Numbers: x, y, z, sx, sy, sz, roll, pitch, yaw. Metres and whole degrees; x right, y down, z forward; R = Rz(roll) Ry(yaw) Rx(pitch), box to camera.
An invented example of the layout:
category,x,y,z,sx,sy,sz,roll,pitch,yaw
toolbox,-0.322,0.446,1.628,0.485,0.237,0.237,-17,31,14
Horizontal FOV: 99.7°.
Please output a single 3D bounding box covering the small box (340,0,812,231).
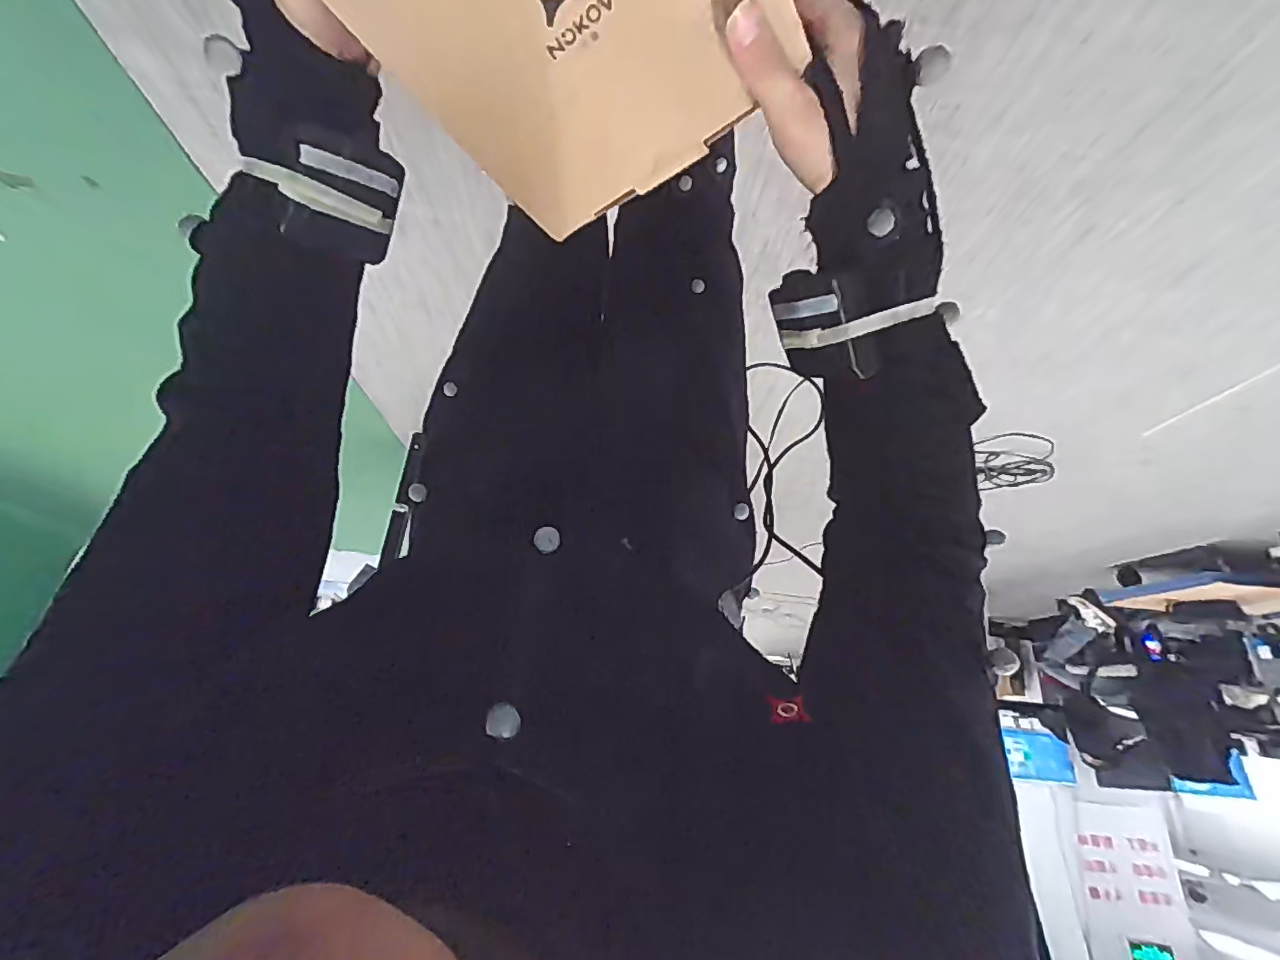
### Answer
category,x,y,z,sx,sy,sz,roll,pitch,yaw
small box,-0.032,-0.278,0.271,0.168,0.176,0.179,-20,147,28
